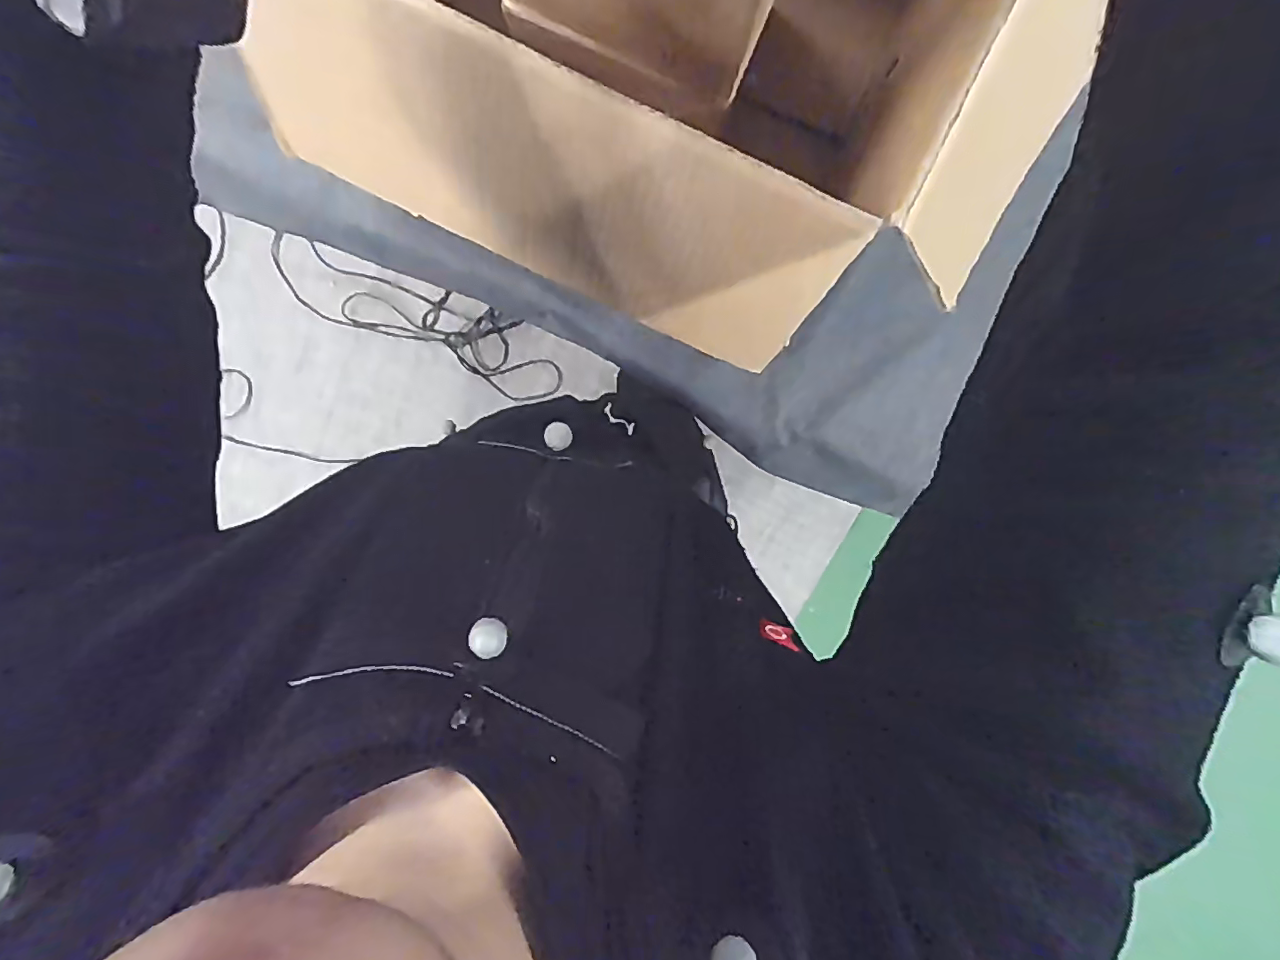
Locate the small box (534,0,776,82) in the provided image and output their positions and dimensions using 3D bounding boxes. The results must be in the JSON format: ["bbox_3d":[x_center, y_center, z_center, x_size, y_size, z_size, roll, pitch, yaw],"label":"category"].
[{"bbox_3d":[0.019,-0.354,0.281,0.179,0.176,0.168,24,102,-4],"label":"small box"}]
